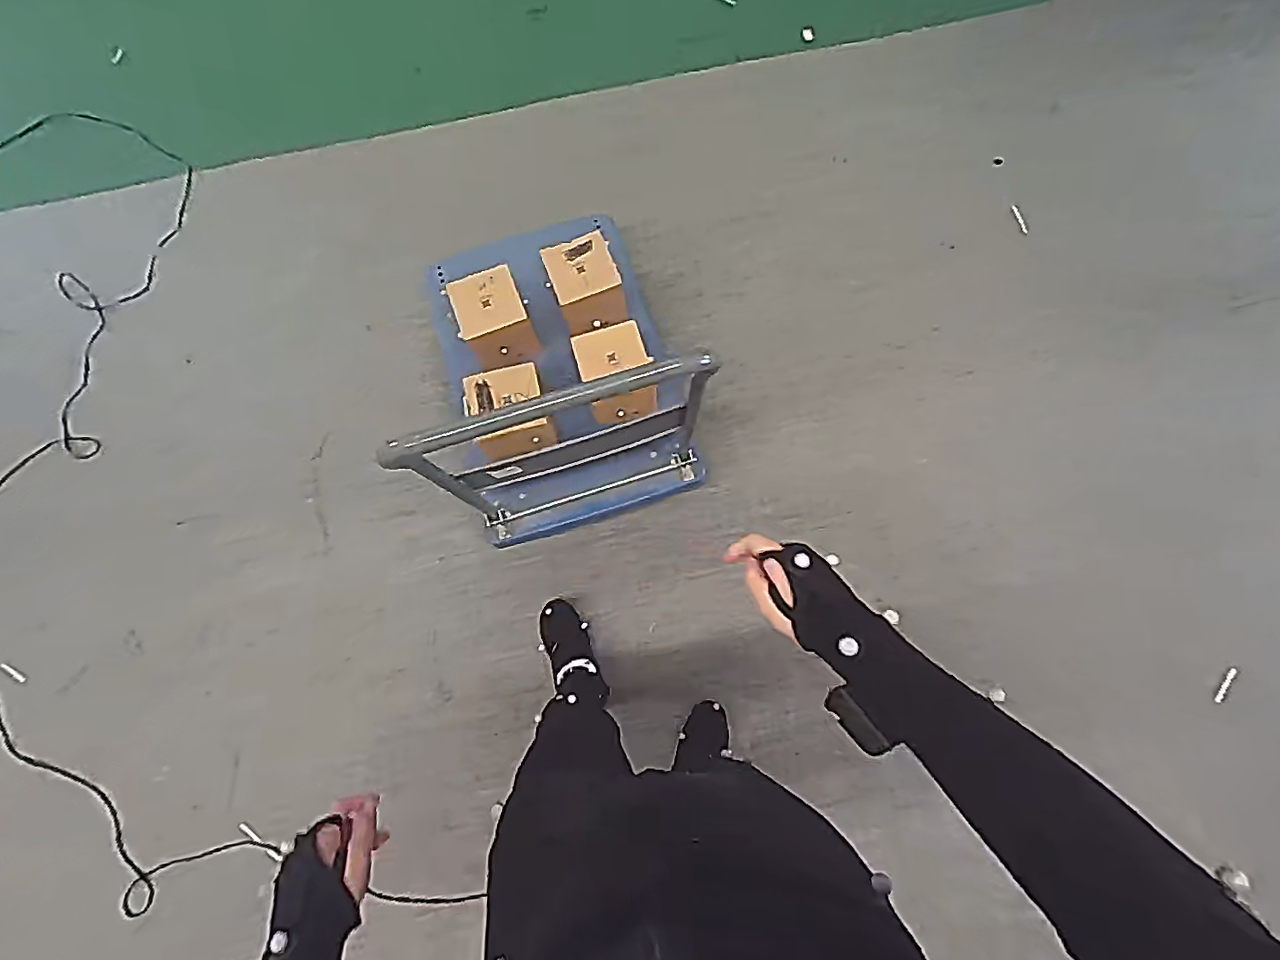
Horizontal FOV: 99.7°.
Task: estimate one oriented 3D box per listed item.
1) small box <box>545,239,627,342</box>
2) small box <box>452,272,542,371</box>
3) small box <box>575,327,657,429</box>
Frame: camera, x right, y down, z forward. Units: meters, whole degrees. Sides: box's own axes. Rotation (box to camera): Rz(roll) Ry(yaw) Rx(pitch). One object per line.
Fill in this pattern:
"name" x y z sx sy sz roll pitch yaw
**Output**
"small box" -0.141 -0.503 1.458 0.168 0.176 0.179 -21 75 -2
"small box" -0.375 -0.411 1.444 0.168 0.176 0.179 -21 74 -4
"small box" -0.060 -0.256 1.385 0.168 0.176 0.179 -16 74 -2
